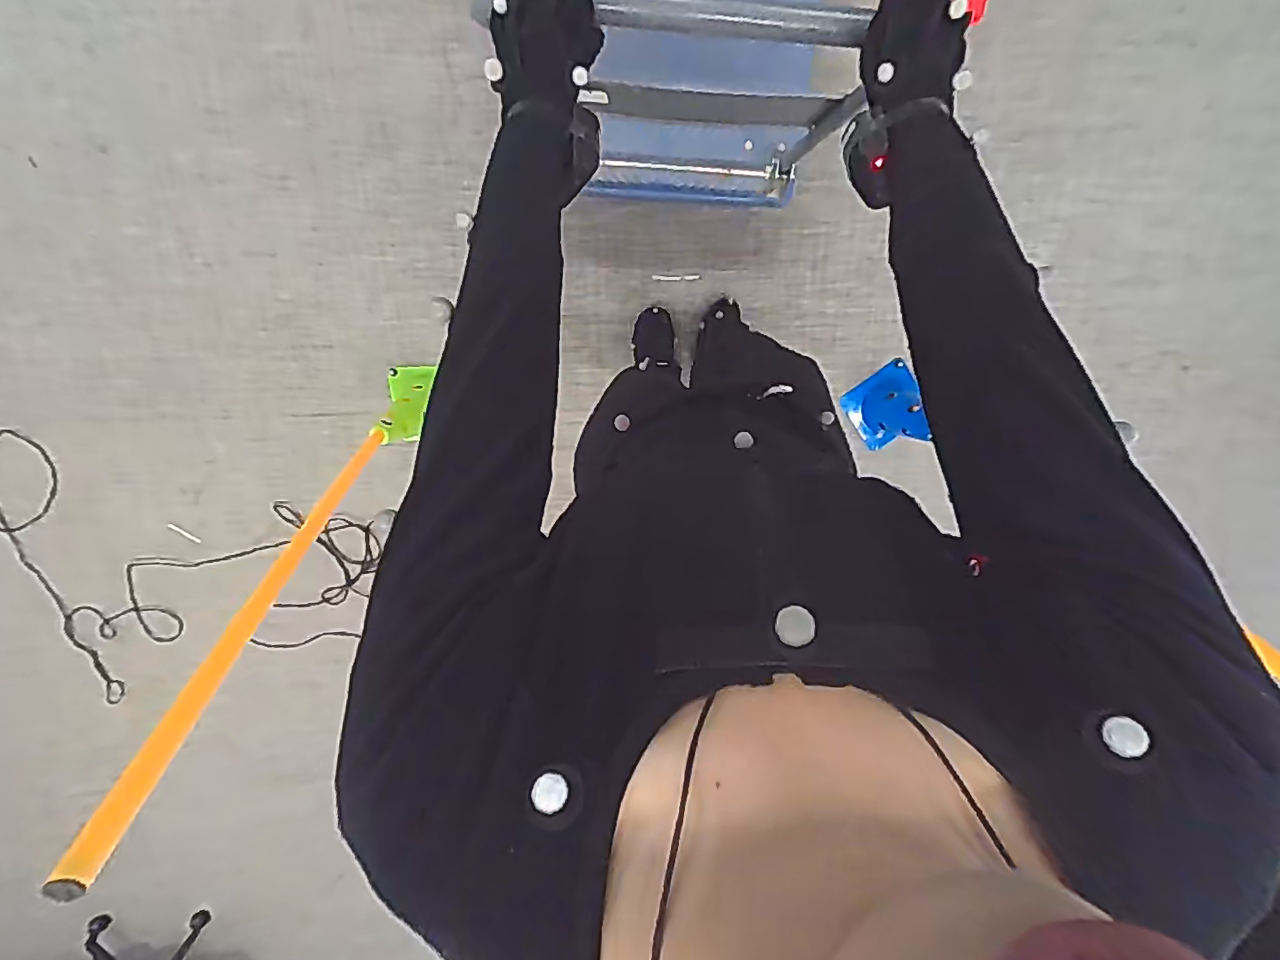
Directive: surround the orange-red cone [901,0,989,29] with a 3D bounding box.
[{"bbox_3d":[0.695,-1.068,1.025,0.198,0.360,0.199,9,109,-5],"label":"orange-red cone"}]
